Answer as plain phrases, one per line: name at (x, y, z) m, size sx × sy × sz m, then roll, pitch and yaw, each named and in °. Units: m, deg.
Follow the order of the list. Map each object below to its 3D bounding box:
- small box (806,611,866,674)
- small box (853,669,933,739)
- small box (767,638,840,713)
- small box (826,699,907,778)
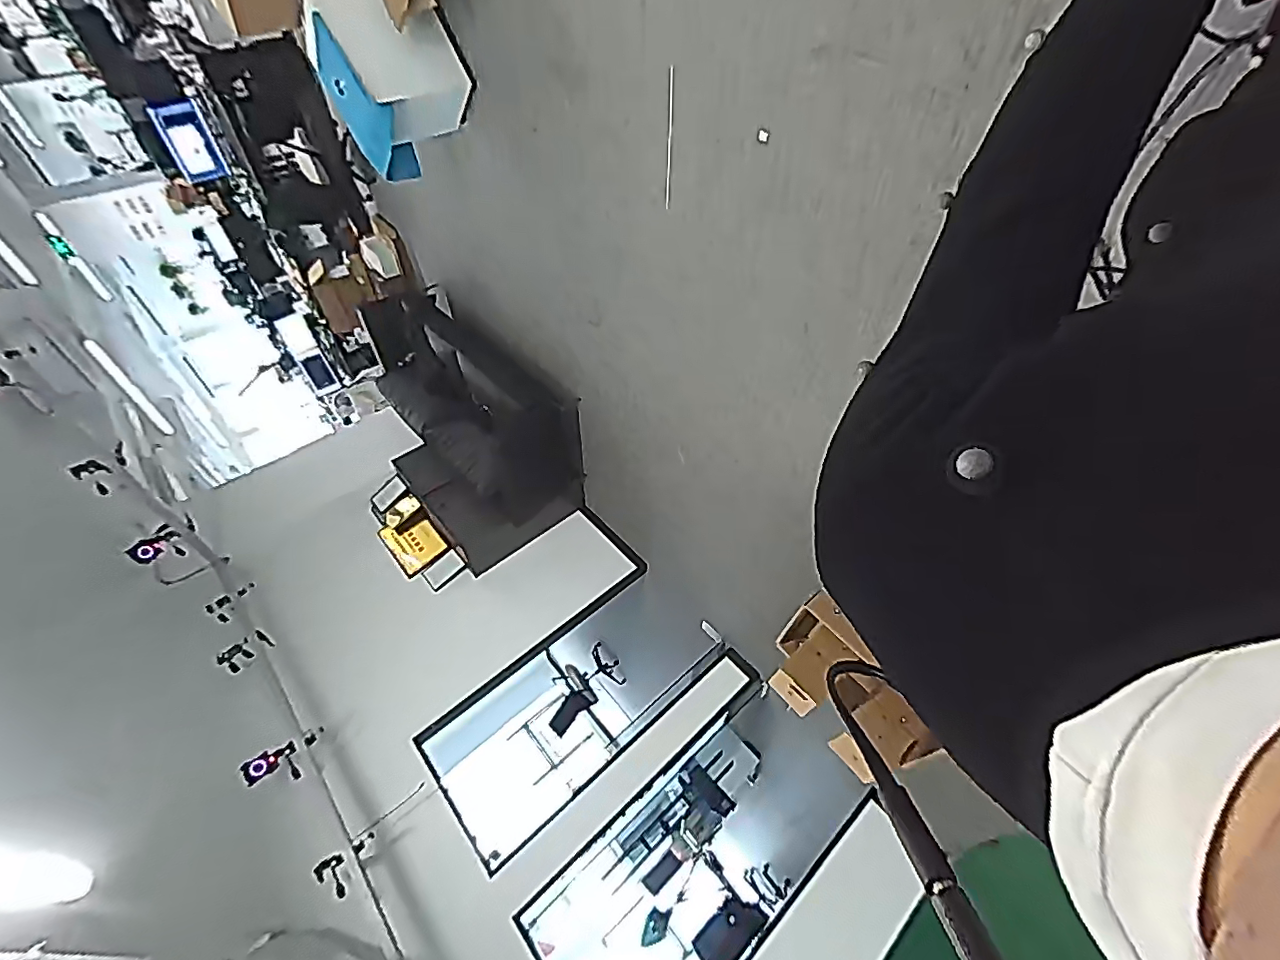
small box at (0.720, 0.625, 2.035) m, size 0.168 × 0.176 × 0.179 m, roll 44°, pitch 152°, yaw 24°
small box at (0.901, 0.805, 1.923) m, size 0.168 × 0.176 × 0.179 m, roll 44°, pitch 152°, yaw 22°
small box at (0.596, 0.707, 1.964) m, size 0.168 × 0.176 × 0.179 m, roll 44°, pitch 152°, yaw 25°
small box at (0.777, 0.879, 1.846) m, size 0.168 × 0.176 × 0.179 m, roll 45°, pitch 152°, yaw 24°
